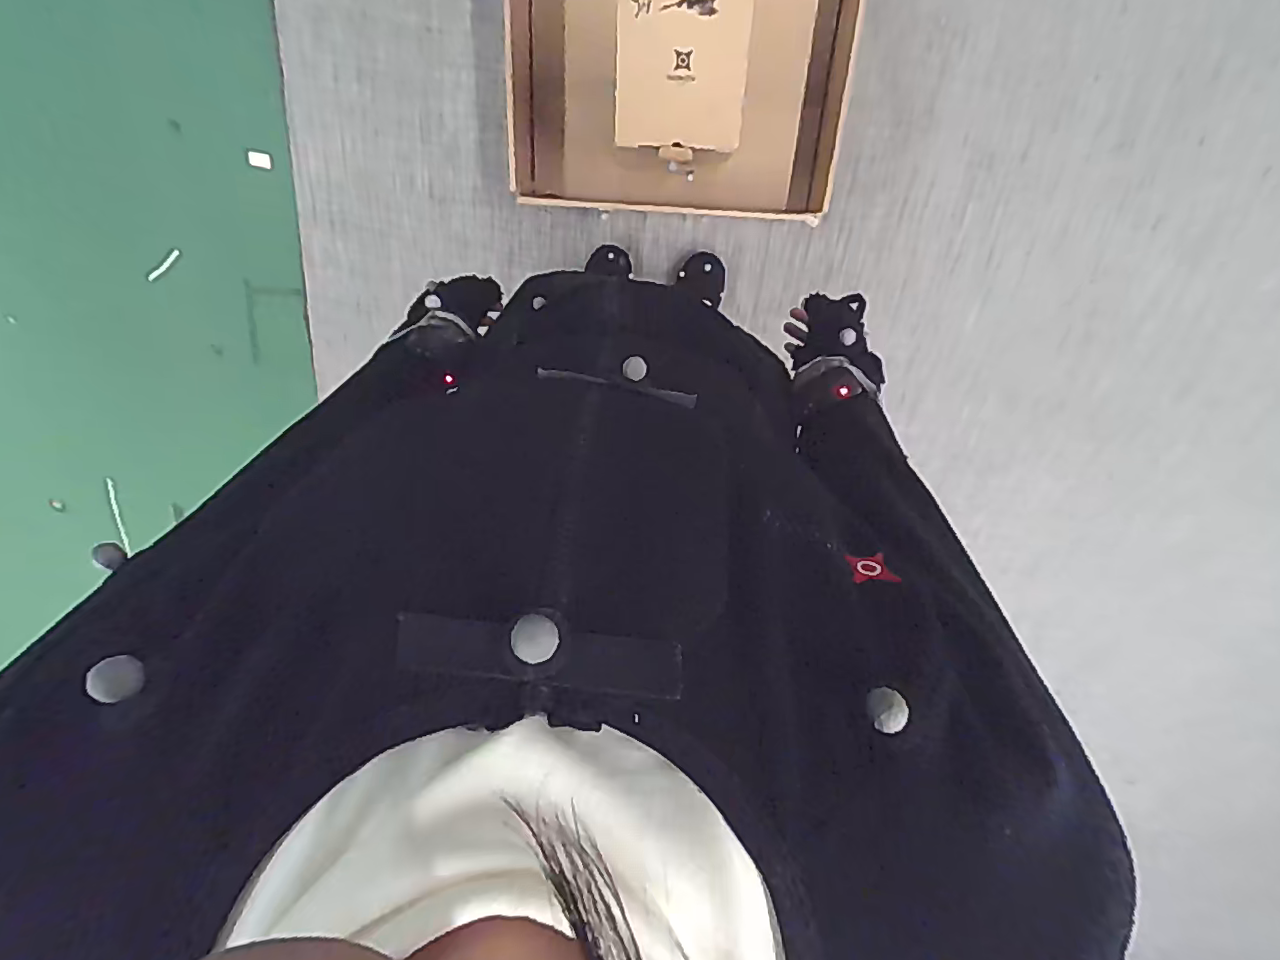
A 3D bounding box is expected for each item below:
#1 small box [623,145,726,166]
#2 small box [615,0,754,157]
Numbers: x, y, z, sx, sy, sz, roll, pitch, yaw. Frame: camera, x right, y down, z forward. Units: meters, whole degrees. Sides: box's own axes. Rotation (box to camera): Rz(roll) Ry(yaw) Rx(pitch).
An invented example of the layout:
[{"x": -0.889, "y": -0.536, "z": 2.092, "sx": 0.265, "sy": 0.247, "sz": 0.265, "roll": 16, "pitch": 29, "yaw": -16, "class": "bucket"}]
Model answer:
[{"x": 0.060, "y": -0.620, "z": 0.885, "sx": 0.168, "sy": 0.176, "sz": 0.179, "roll": 1, "pitch": 115, "yaw": 2, "class": "small box"}, {"x": 0.056, "y": -0.558, "z": 0.751, "sx": 0.168, "sy": 0.176, "sz": 0.179, "roll": 3, "pitch": 116, "yaw": 0, "class": "small box"}]
